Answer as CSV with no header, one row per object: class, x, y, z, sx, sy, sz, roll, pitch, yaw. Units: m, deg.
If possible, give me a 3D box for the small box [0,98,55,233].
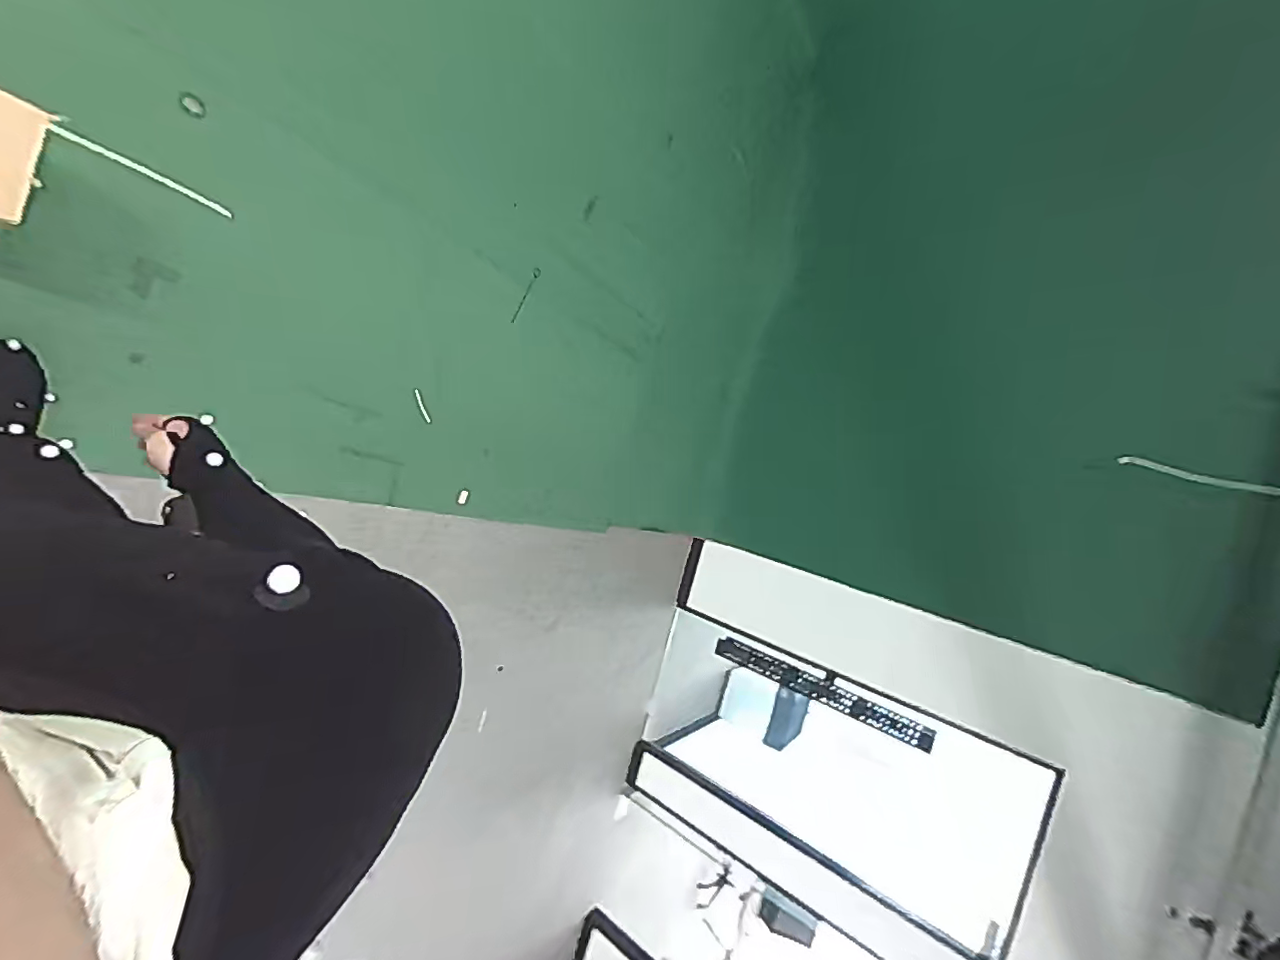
small box,-1.018,-0.487,0.800,0.168,0.176,0.179,15,90,-56
